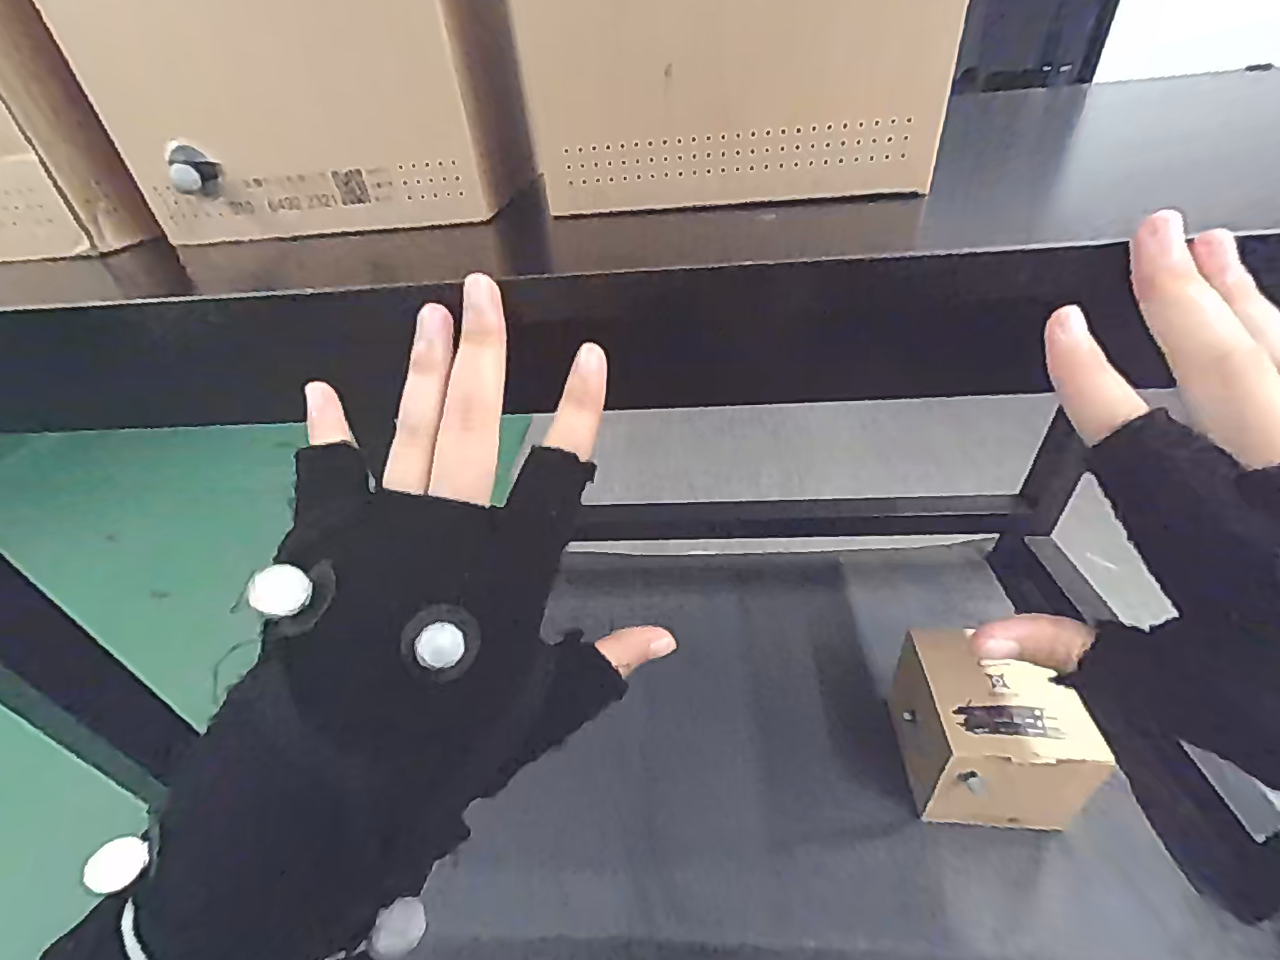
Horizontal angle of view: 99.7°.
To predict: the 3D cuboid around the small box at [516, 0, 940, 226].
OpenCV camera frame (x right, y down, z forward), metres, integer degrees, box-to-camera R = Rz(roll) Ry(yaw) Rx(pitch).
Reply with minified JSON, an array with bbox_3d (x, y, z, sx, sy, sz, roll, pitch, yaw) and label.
[{"bbox_3d":[0.040,-0.235,0.270,0.179,0.176,0.168,1,38,8],"label":"small box"}]
